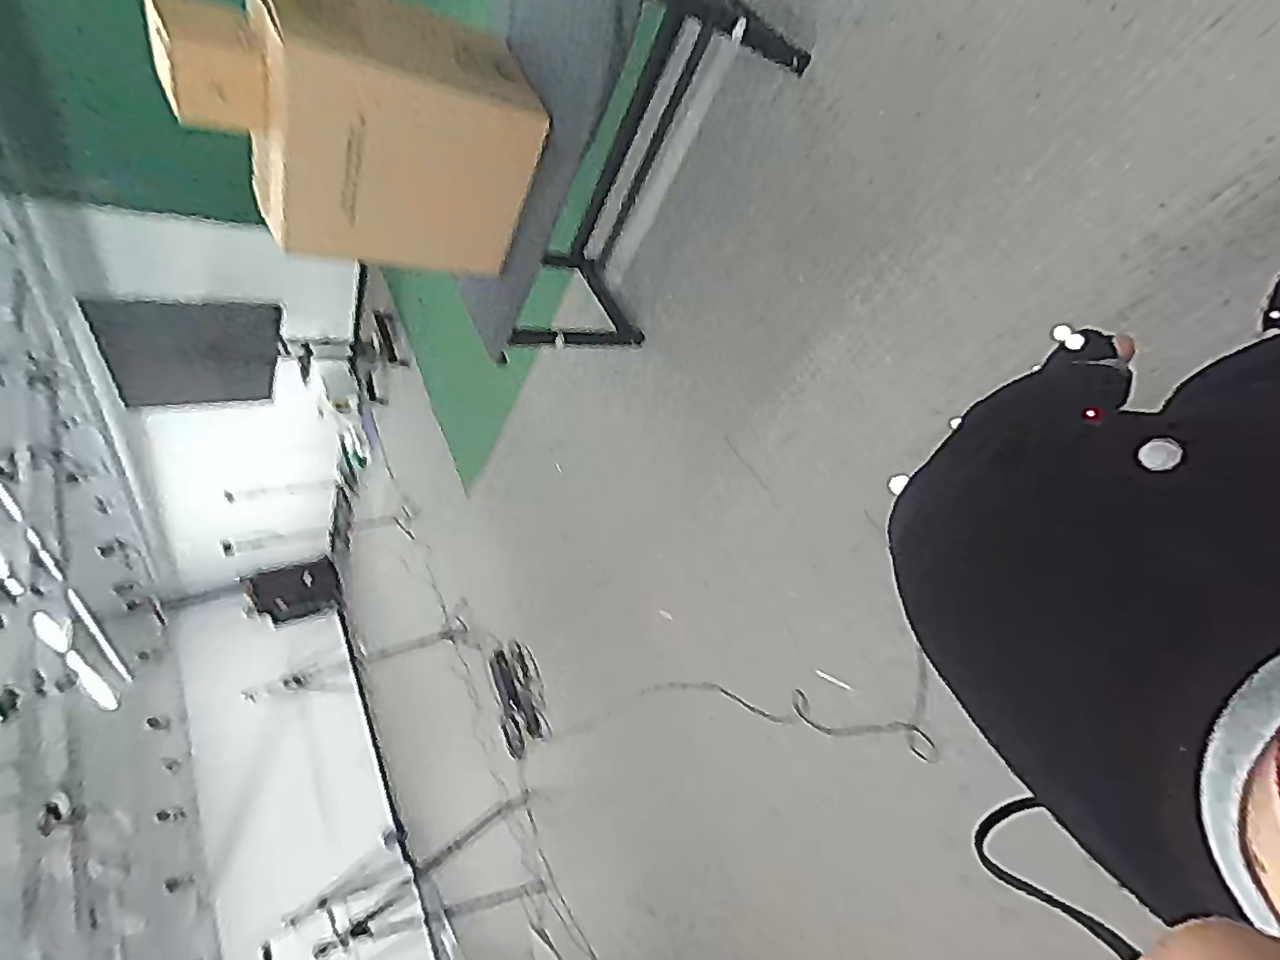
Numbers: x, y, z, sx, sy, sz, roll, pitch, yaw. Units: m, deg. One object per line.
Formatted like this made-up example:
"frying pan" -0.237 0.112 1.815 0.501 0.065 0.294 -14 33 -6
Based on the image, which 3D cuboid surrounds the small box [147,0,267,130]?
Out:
"small box" -0.948 -0.918 1.195 0.168 0.176 0.179 59 138 15
